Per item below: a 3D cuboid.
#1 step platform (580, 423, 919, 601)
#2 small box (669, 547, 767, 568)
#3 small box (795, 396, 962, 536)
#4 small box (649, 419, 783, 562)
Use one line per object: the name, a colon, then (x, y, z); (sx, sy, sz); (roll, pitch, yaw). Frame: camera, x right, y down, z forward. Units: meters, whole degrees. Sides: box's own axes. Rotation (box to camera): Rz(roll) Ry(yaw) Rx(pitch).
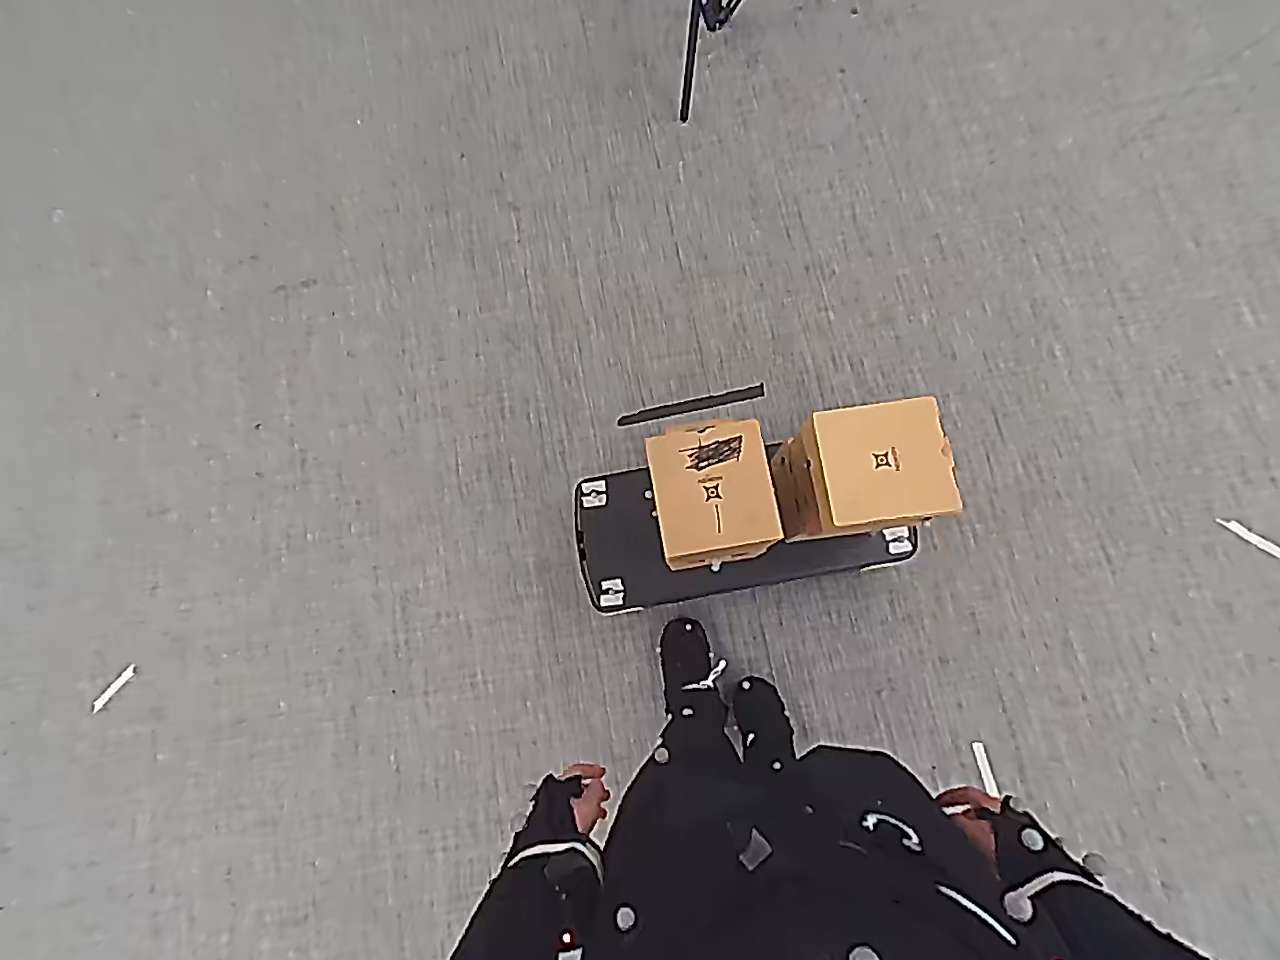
step platform: (0.215, 0.063, 1.159); (0.684, 0.204, 0.286); (-11, 77, 3)
small box: (0.123, 0.061, 0.990); (0.168, 0.176, 0.179); (-9, 78, 3)
small box: (0.343, -0.012, 0.821); (0.179, 0.176, 0.168); (-8, 78, 2)
small box: (0.108, 0.025, 0.830); (0.168, 0.176, 0.179); (-10, 78, 2)
